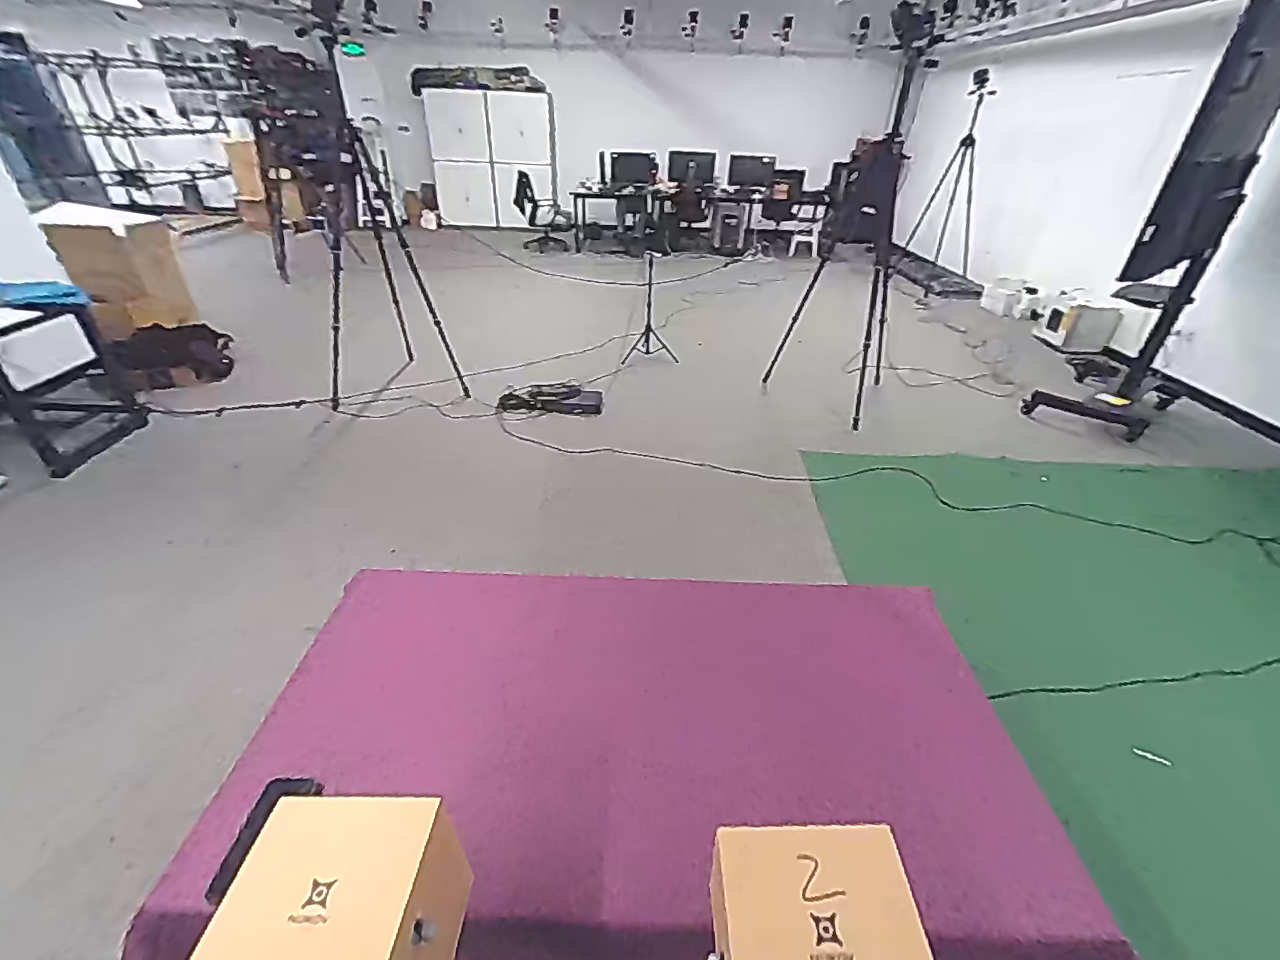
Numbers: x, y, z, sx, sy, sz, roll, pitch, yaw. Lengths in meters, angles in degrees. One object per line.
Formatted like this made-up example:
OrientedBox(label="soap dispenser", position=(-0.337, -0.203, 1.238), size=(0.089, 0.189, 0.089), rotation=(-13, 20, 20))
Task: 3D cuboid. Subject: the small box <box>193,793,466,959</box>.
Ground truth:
OrientedBox(label="small box", position=(-0.279, 0.435, 0.520), size=(0.168, 0.176, 0.179), rotation=(0, 33, 3))
